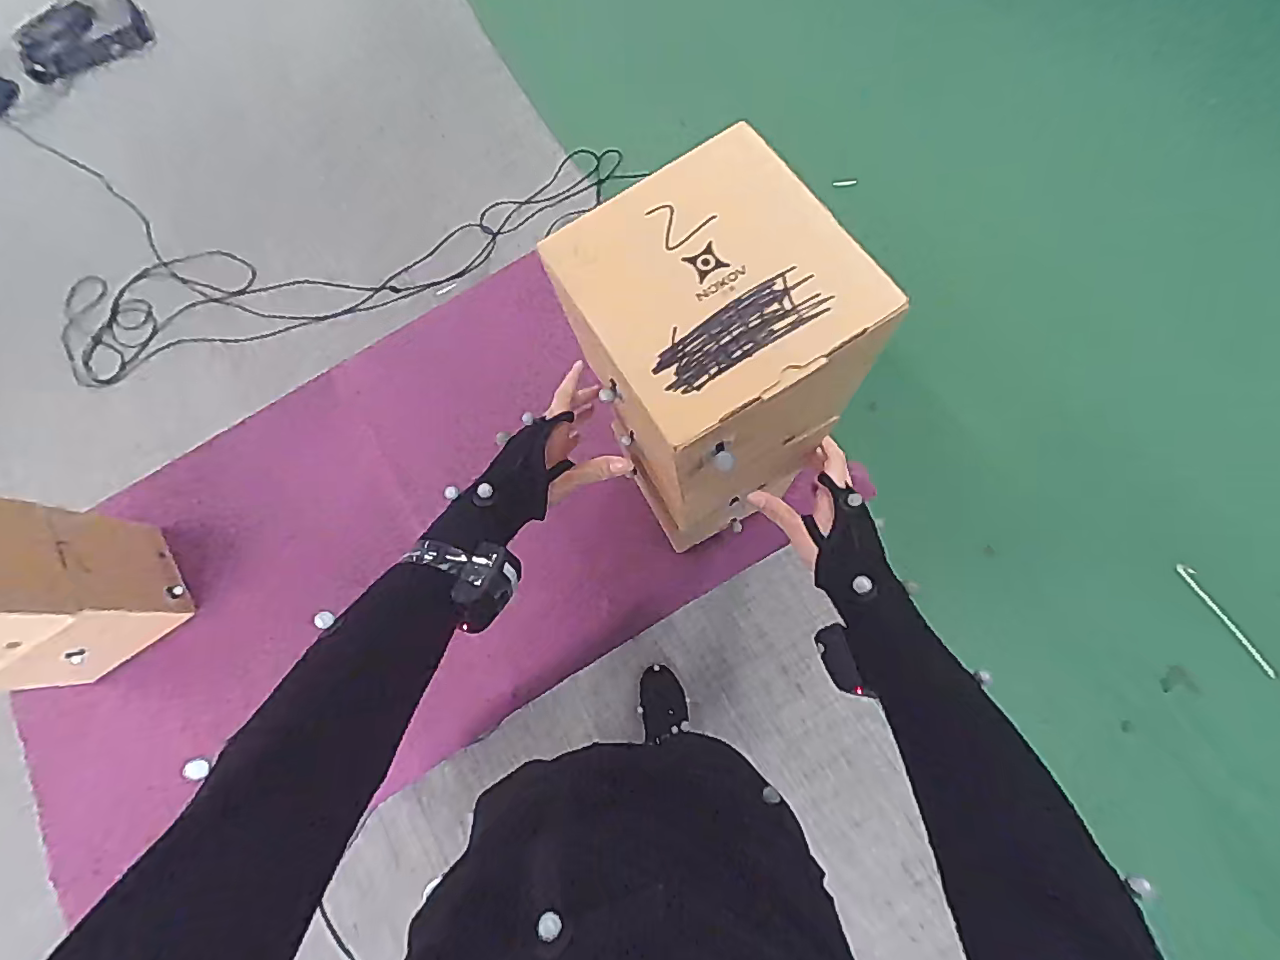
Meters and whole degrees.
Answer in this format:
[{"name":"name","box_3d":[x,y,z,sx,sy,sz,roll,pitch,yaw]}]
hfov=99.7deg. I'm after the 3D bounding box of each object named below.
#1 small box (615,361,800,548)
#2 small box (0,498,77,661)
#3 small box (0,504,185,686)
[{"name":"small box","box_3d":[0.085,-0.025,0.733,0.179,0.176,0.168,-28,74,-3]},{"name":"small box","box_3d":[-0.791,0.118,0.592,0.168,0.176,0.179,-35,75,-5]},{"name":"small box","box_3d":[-0.786,0.159,0.749,0.179,0.176,0.168,-35,75,-5]}]
